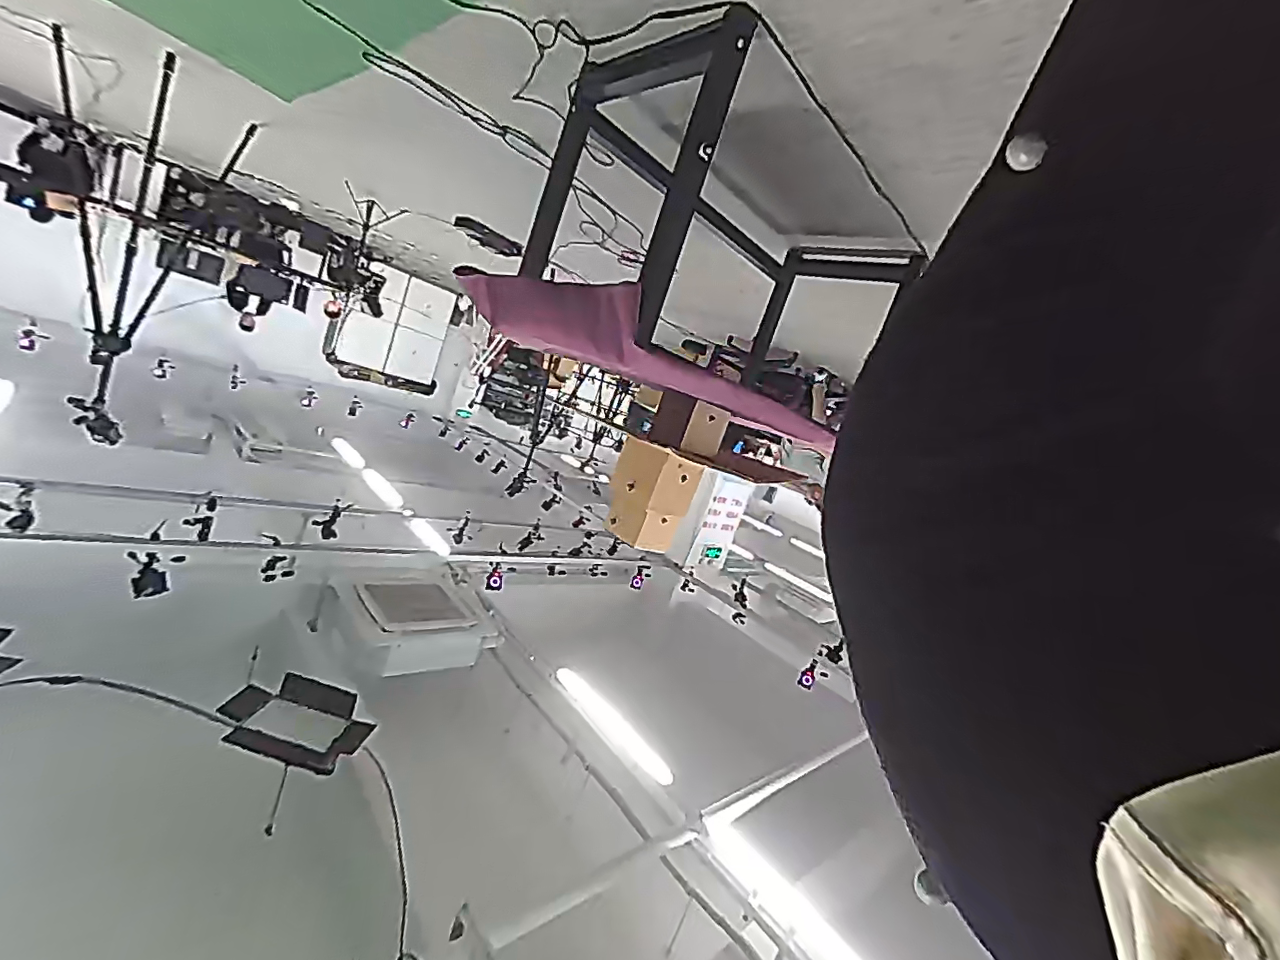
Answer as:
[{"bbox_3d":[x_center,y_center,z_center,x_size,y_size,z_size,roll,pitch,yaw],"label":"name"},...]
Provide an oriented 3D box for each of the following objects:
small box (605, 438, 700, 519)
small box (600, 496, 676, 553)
[{"bbox_3d":[0.036,-0.009,1.504,0.168,0.176,0.179,15,-173,-45],"label":"small box"},{"bbox_3d":[0.002,0.126,1.800,0.168,0.176,0.179,16,-173,-44],"label":"small box"}]
